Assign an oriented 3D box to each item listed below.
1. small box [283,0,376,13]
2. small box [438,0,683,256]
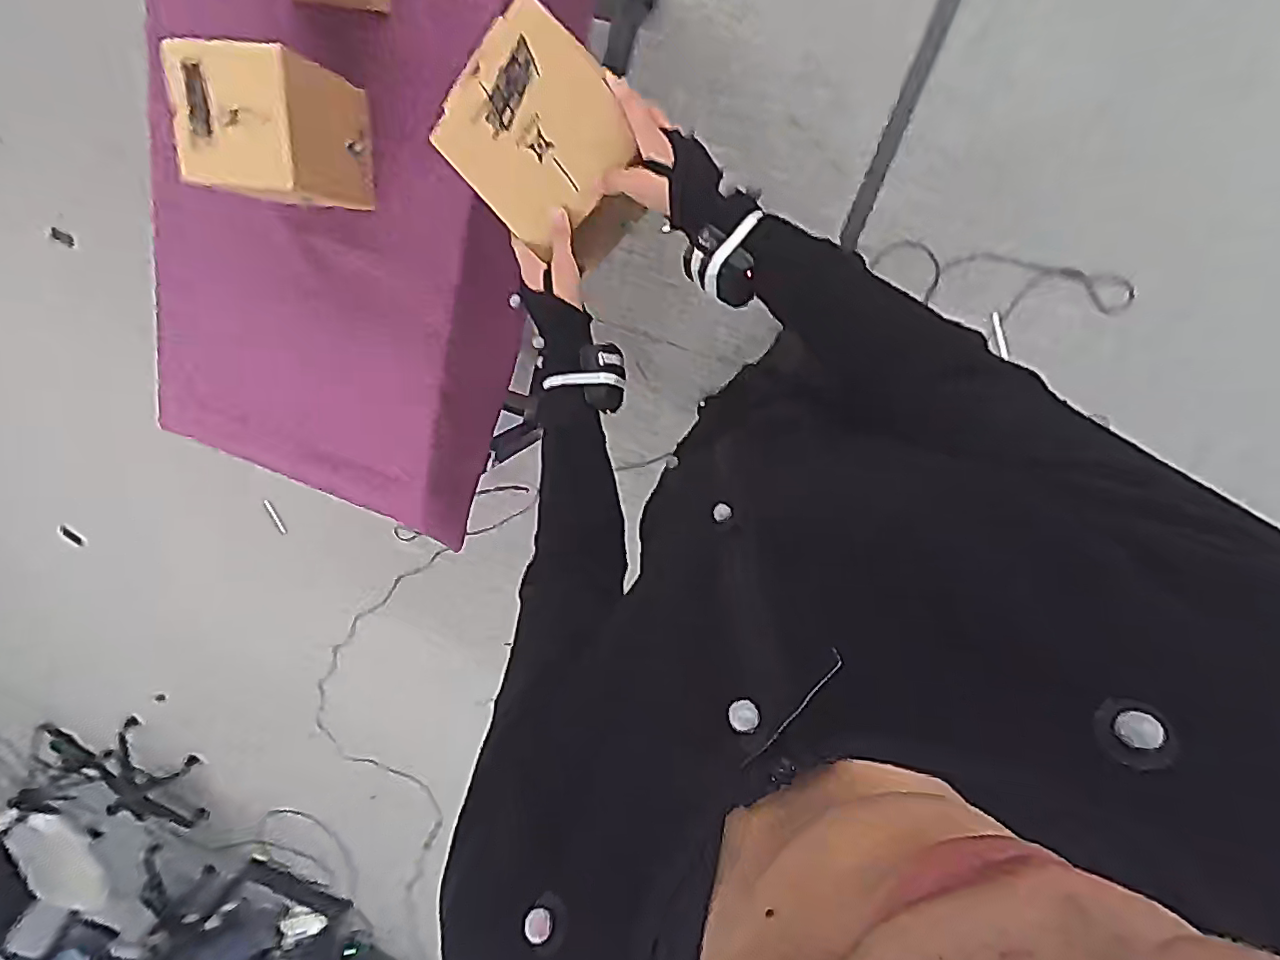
[{"bbox_3d":[-0.453,-0.740,0.692,0.179,0.176,0.168,14,110,9],"label":"small box"},{"bbox_3d":[-0.076,-0.369,0.601,0.168,0.176,0.179,-39,96,25],"label":"small box"}]
